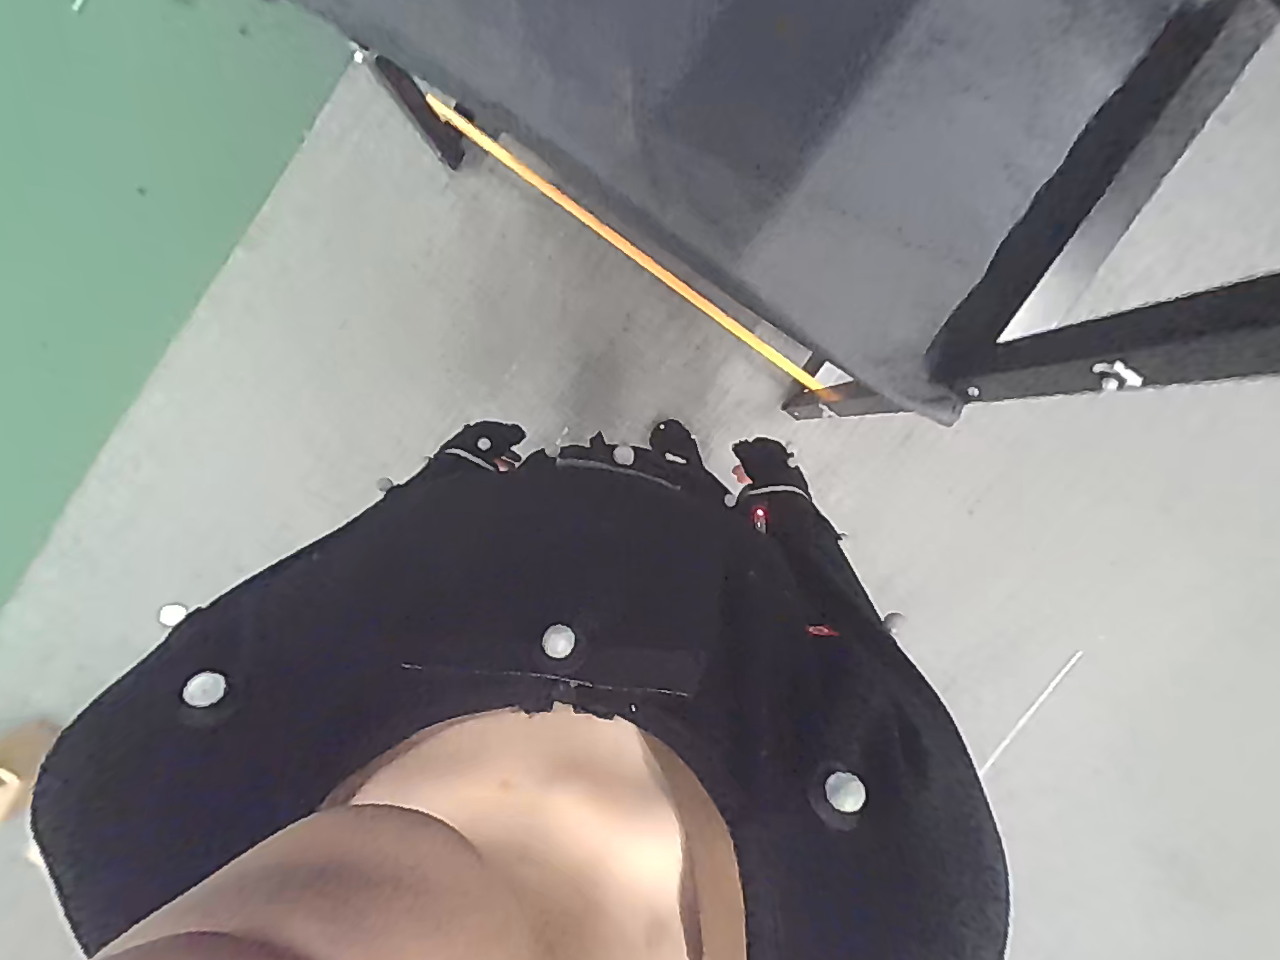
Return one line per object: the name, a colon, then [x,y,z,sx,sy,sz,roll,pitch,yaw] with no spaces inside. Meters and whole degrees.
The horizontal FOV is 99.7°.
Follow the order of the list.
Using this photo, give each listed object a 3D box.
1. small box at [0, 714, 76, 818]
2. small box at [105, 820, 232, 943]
small box: [-1.722,0.781,1.477,0.168,0.176,0.179,35,95,-2]
small box: [-1.292,1.102,1.497,0.168,0.176,0.179,36,94,-3]
